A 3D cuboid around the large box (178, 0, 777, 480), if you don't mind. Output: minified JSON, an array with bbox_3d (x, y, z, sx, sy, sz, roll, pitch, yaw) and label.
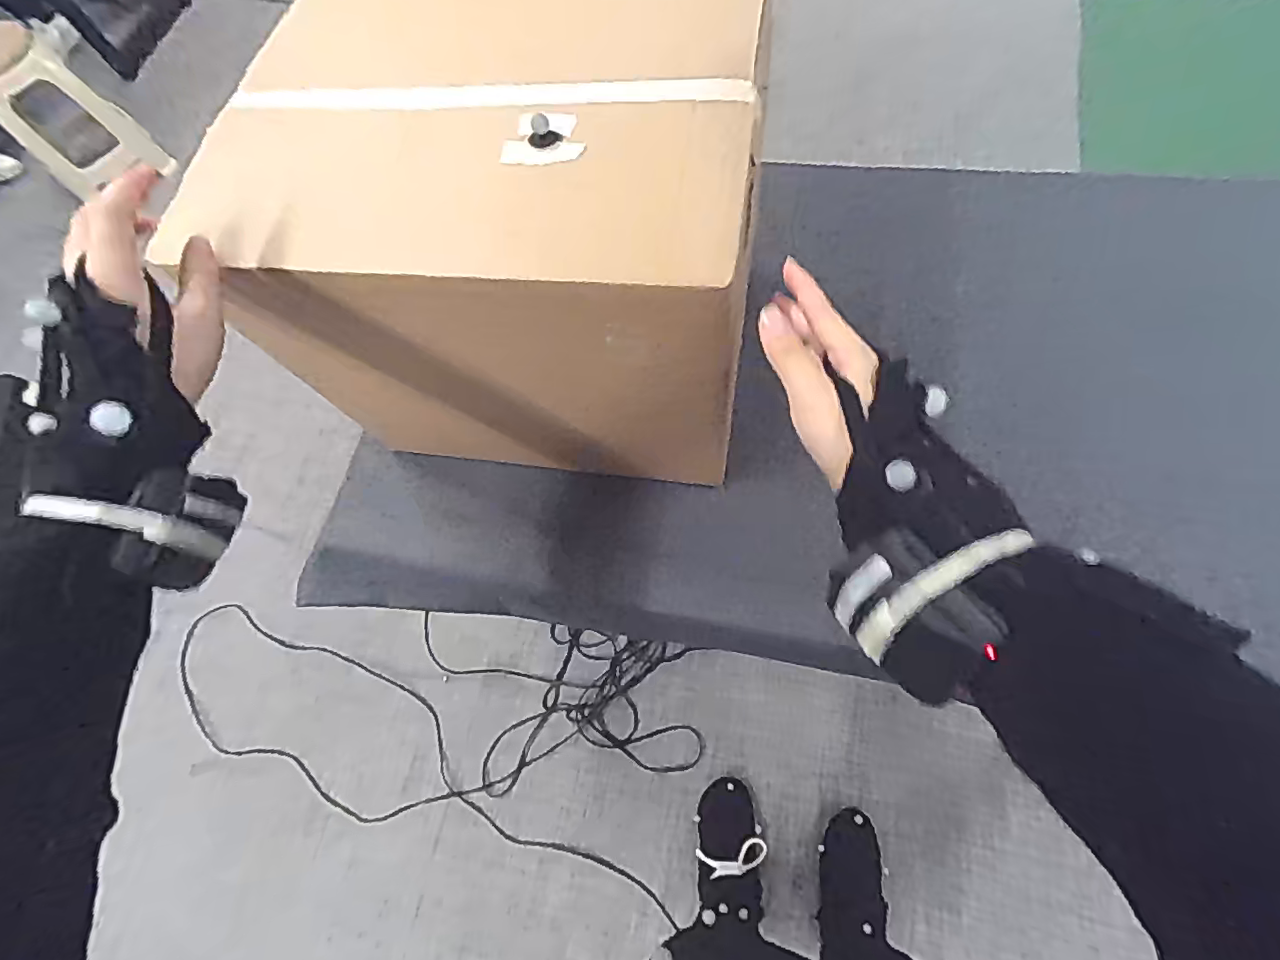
[{"bbox_3d":[-0.094,-0.210,0.539,0.408,0.320,0.320,6,69,9],"label":"large box"}]
